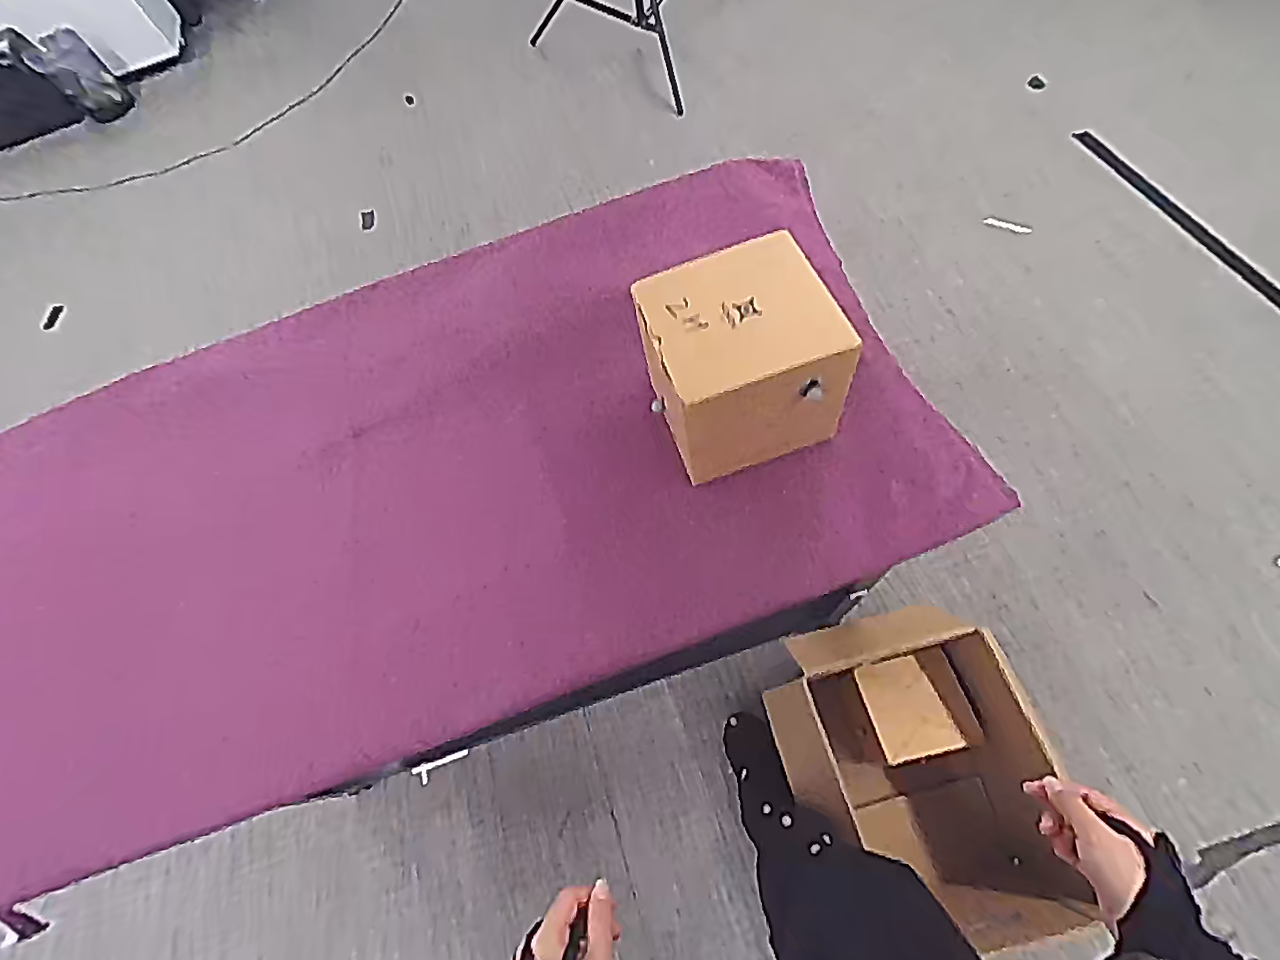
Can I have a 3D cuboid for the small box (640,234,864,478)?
[{"bbox_3d":[0.113,-0.127,0.598,0.179,0.176,0.168,-19,62,0],"label":"small box"}]
